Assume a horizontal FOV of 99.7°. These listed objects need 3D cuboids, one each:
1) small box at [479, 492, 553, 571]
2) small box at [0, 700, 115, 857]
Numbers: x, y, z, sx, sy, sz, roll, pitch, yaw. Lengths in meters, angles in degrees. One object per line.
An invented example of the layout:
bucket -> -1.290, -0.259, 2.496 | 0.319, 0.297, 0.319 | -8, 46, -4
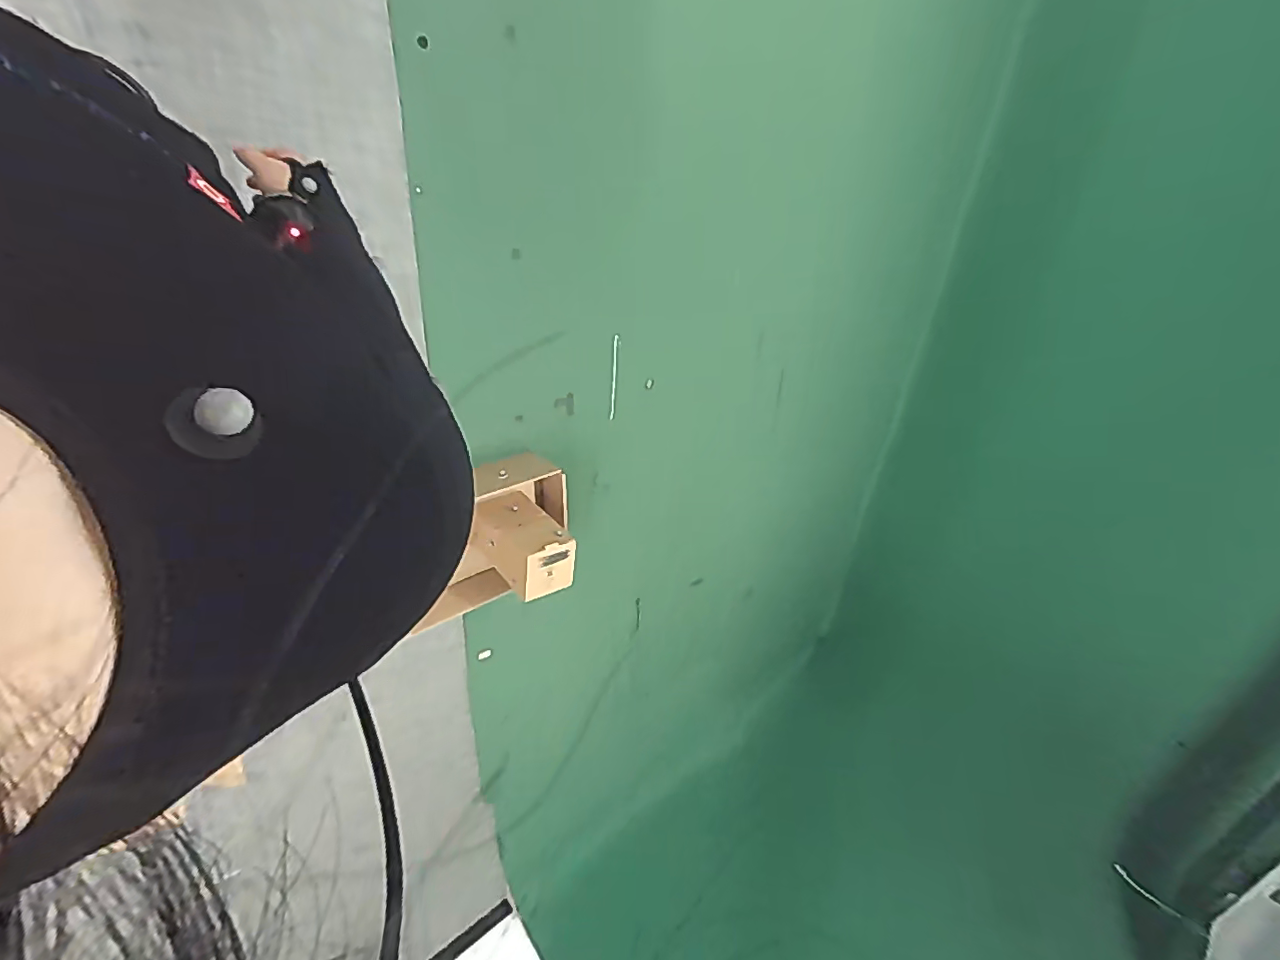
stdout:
small box -> -0.402, 0.159, 1.760 | 0.179, 0.176, 0.168 | -19, 127, -34
small box -> -1.178, 0.576, 1.064 | 0.168, 0.176, 0.179 | -22, 128, -37
